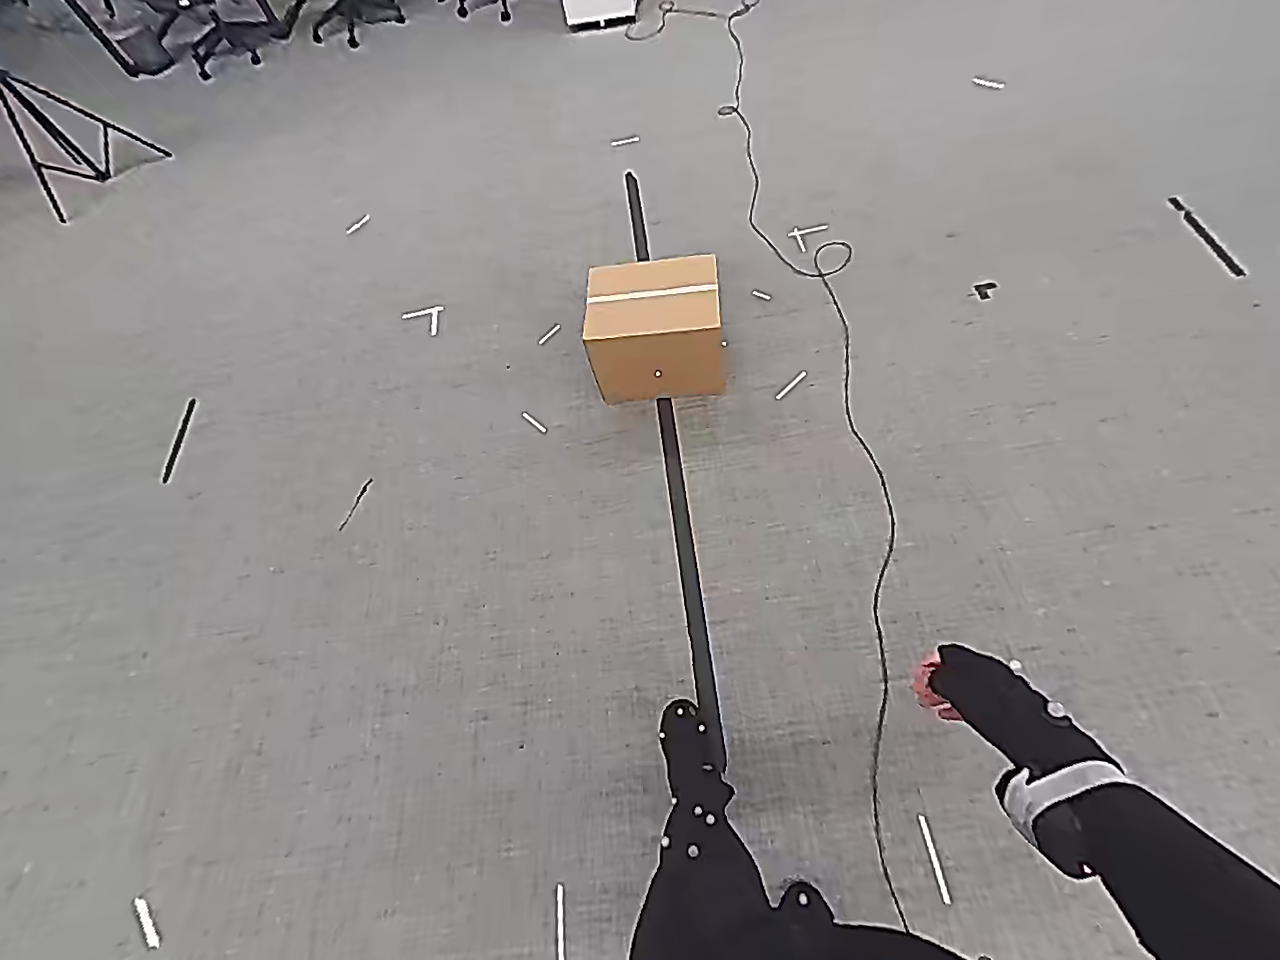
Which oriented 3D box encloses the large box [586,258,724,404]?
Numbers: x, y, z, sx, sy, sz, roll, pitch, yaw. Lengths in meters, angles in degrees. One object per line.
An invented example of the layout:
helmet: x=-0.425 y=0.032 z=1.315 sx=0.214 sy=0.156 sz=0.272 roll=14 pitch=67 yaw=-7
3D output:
large box: x=0.058 y=-0.470 z=1.750 sx=0.408 sy=0.320 sz=0.320 roll=-3 pitch=61 yaw=8
